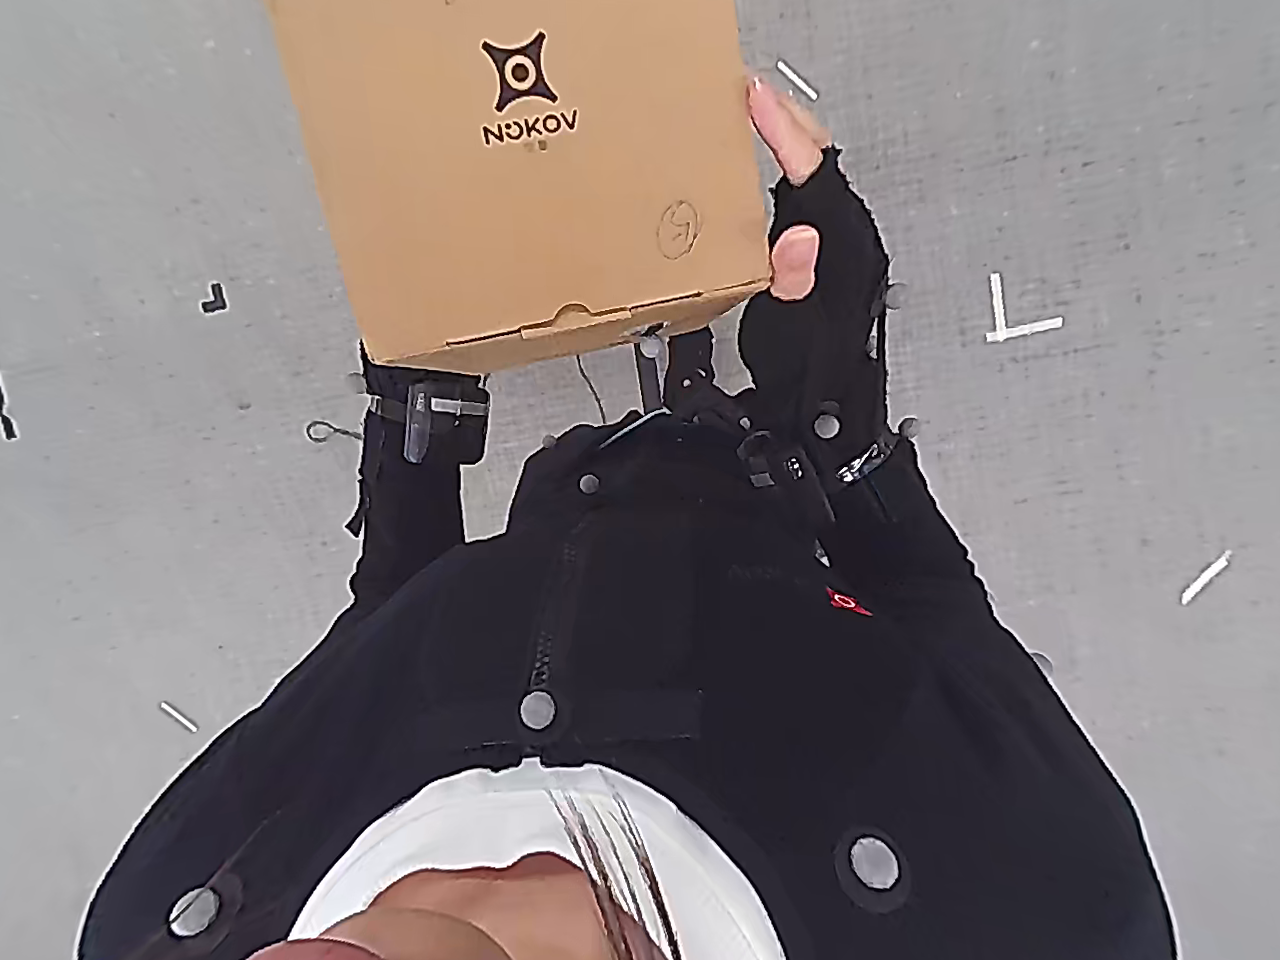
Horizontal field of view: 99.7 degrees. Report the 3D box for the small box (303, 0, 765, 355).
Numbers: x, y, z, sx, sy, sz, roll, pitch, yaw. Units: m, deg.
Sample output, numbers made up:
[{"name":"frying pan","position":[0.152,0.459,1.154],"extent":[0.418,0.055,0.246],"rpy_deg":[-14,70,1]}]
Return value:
[{"name":"small box","position":[-0.045,-0.169,0.294],"extent":[0.168,0.176,0.179],"rpy_deg":[-12,99,-2]}]
